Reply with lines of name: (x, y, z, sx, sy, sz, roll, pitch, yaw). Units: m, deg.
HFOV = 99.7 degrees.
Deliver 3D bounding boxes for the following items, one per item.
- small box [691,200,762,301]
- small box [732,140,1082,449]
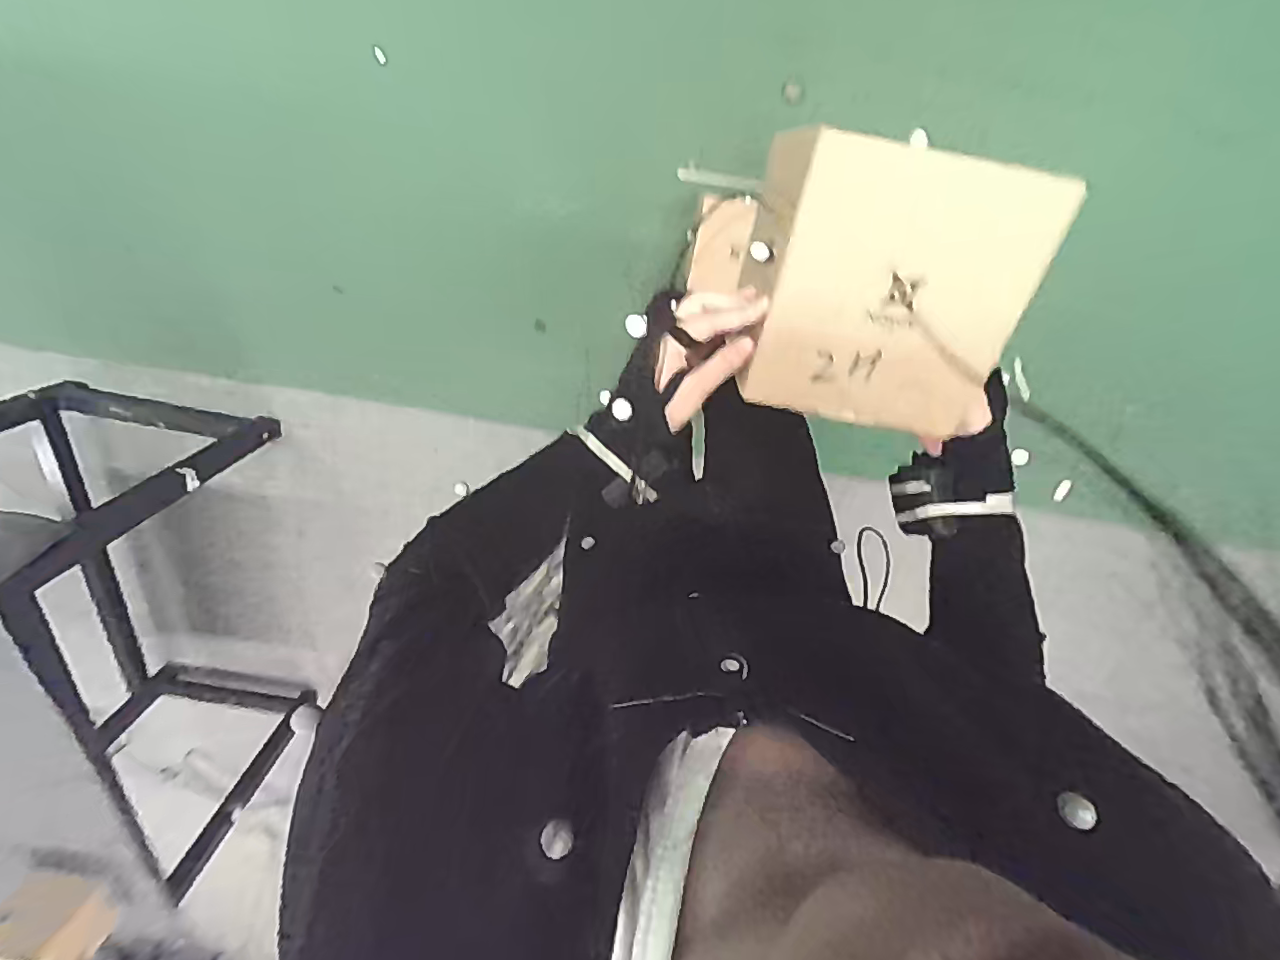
small box: (0.206, -0.489, 1.157, 0.168, 0.176, 0.179, 10, 117, -1)
small box: (0.174, -0.152, 0.428, 0.168, 0.176, 0.179, 11, 122, -1)
